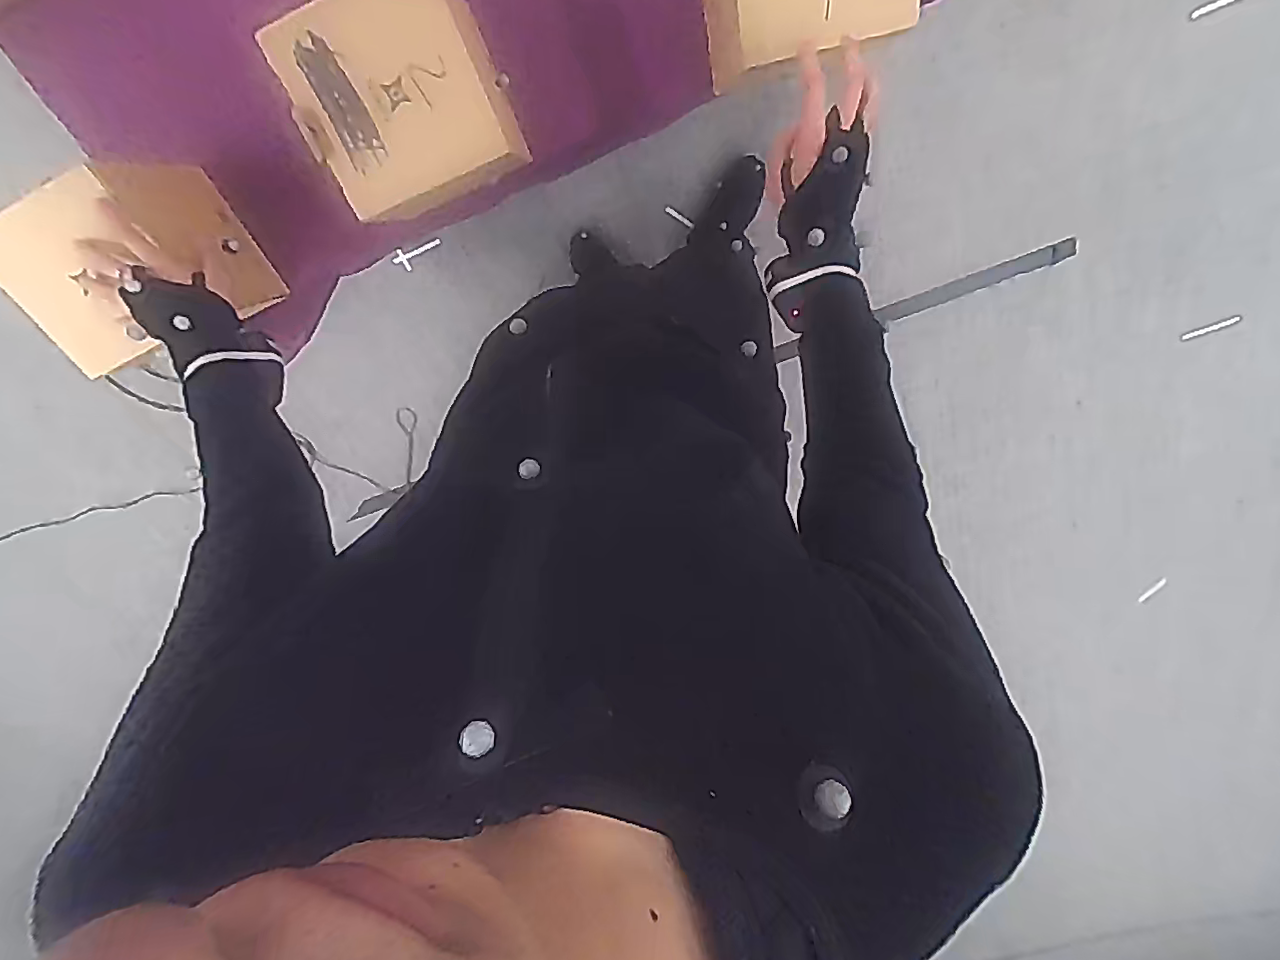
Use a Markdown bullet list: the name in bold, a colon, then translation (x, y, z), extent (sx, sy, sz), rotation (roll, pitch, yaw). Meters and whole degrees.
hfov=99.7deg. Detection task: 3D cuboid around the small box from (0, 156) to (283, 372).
- **small box**: translation (-0.583, -0.255, 0.642), extent (0.179, 0.176, 0.168), rotation (-23, 117, 8)
